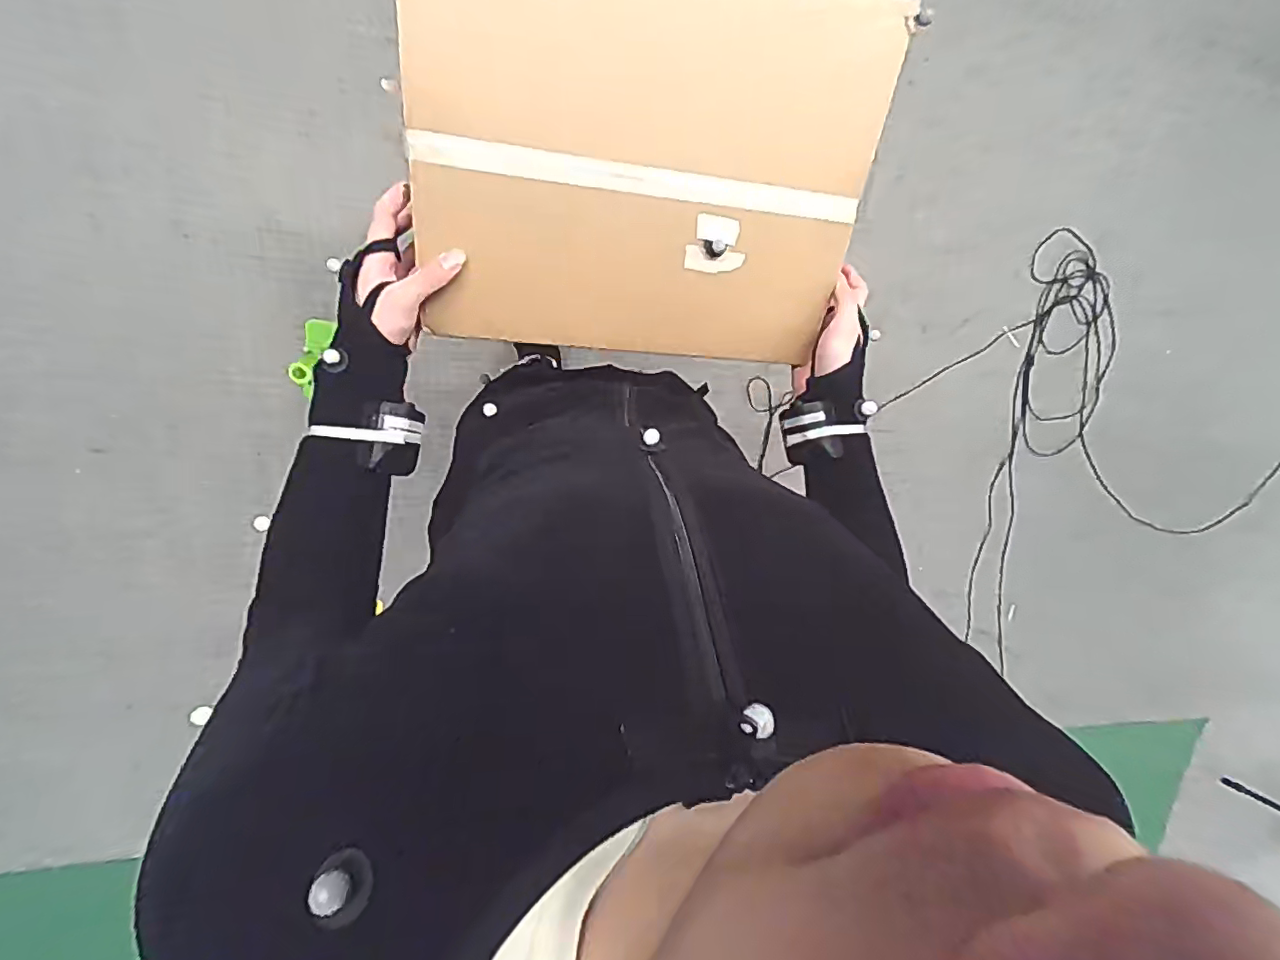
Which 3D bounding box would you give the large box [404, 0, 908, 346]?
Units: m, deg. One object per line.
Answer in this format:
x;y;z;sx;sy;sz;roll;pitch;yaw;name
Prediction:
-0.017;-0.355;0.601;0.408;0.320;0.320;0;123;-14;large box

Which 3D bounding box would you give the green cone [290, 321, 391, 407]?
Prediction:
-0.718;-0.250;1.239;0.200;0.368;0.202;5;105;-15;green cone
